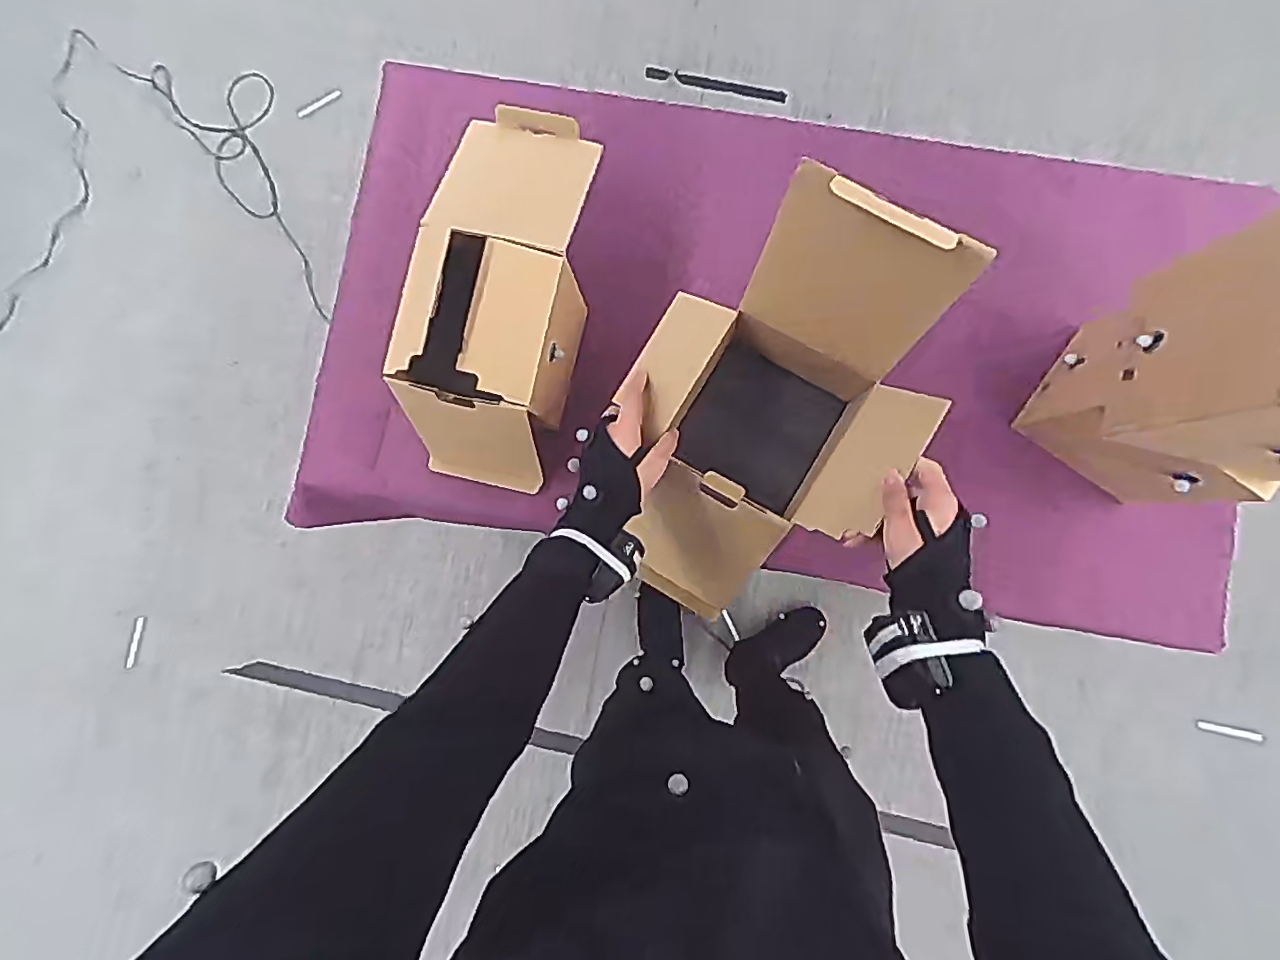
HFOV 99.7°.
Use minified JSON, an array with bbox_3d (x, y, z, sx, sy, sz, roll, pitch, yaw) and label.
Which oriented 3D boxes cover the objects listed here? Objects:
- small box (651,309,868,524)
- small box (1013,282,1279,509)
[{"bbox_3d":[0.131,-0.061,0.639,0.168,0.176,0.179,30,88,6],"label":"small box"},{"bbox_3d":[0.590,-0.083,0.618,0.179,0.176,0.168,37,89,4],"label":"small box"}]
